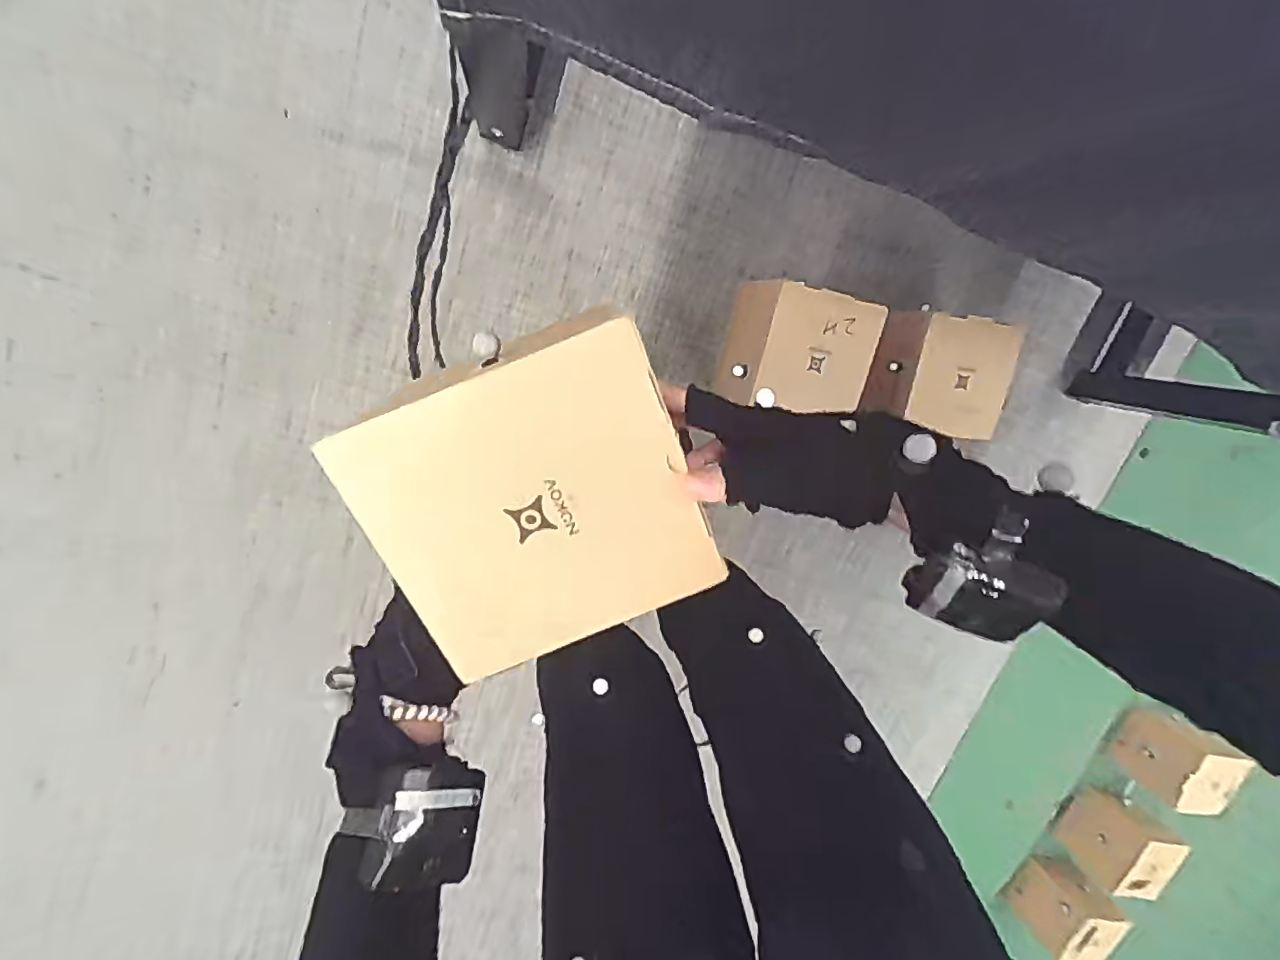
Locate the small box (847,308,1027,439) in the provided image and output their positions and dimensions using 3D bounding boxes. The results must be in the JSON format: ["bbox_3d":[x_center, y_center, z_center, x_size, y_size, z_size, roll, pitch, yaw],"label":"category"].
[{"bbox_3d":[0.458,-0.174,0.864,0.168,0.176,0.179,3,107,-14],"label":"small box"}]

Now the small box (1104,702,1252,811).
[{"bbox_3d":[1.327,0.682,1.347,0.179,0.176,0.168,15,105,-15],"label":"small box"}]
